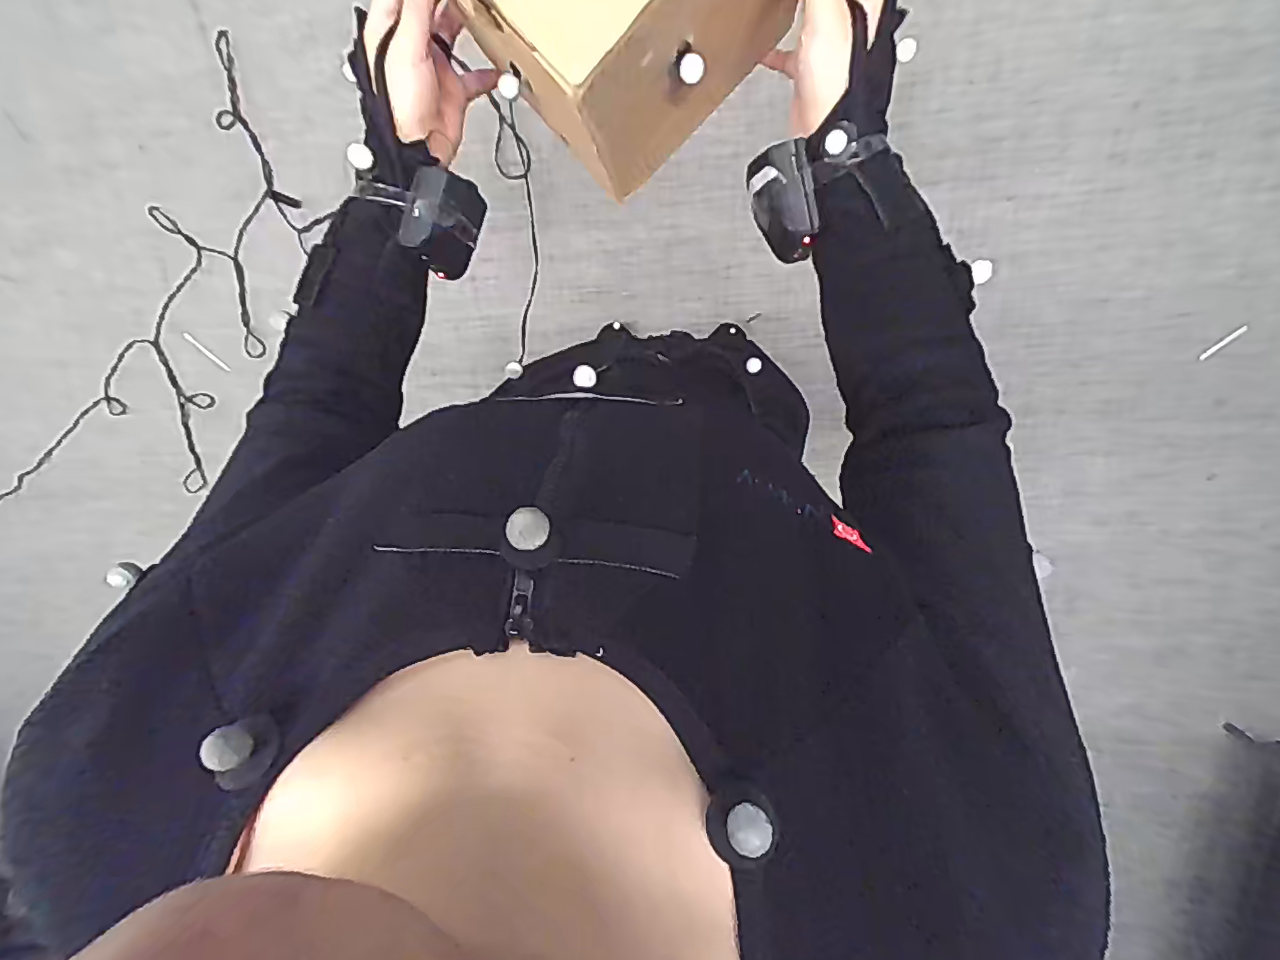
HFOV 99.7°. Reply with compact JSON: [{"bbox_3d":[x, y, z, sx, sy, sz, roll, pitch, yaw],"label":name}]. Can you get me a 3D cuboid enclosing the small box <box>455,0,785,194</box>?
[{"bbox_3d":[-0.015,-0.322,0.338,0.179,0.176,0.168,-43,93,12],"label":"small box"}]
